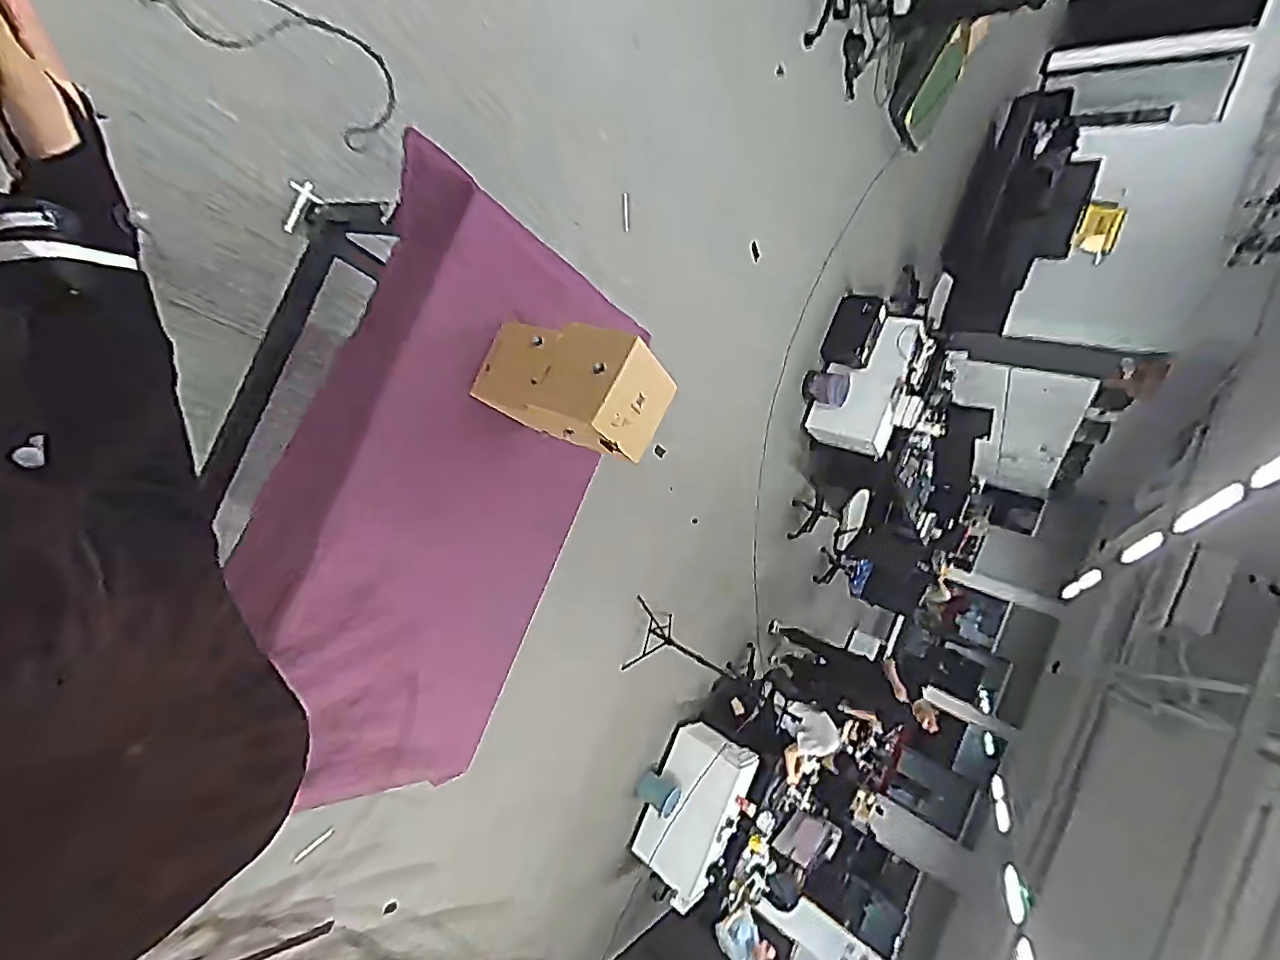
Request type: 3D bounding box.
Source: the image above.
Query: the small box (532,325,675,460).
[{"bbox_3d":[-0.068,-0.165,0.999,0.179,0.176,0.168,-63,145,-9],"label":"small box"}]
